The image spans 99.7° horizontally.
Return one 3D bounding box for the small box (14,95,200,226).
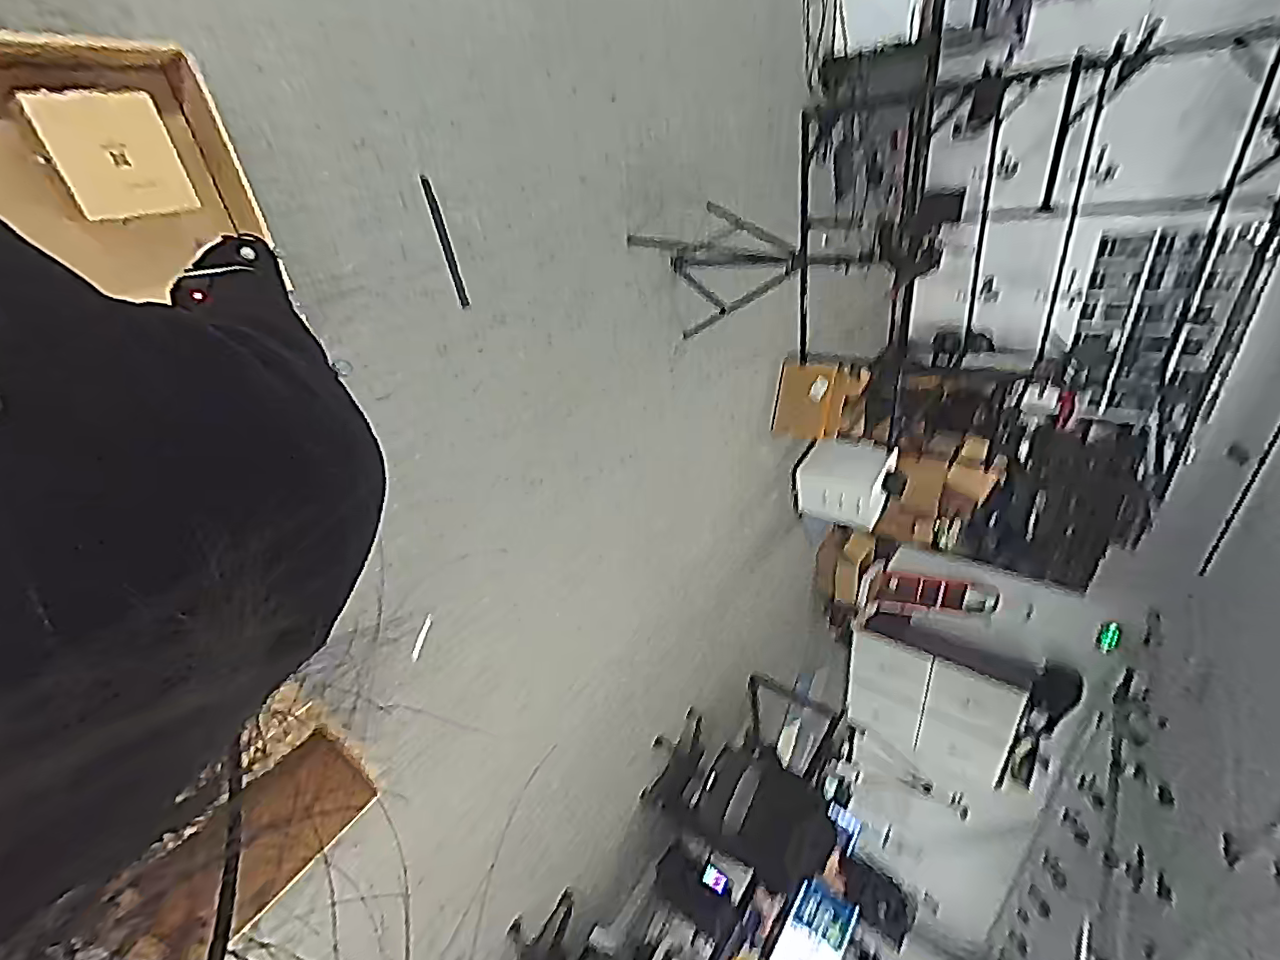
[{"bbox_3d":[-0.924,-0.549,0.940,0.168,0.176,0.179,-35,131,-38],"label":"small box"}]
